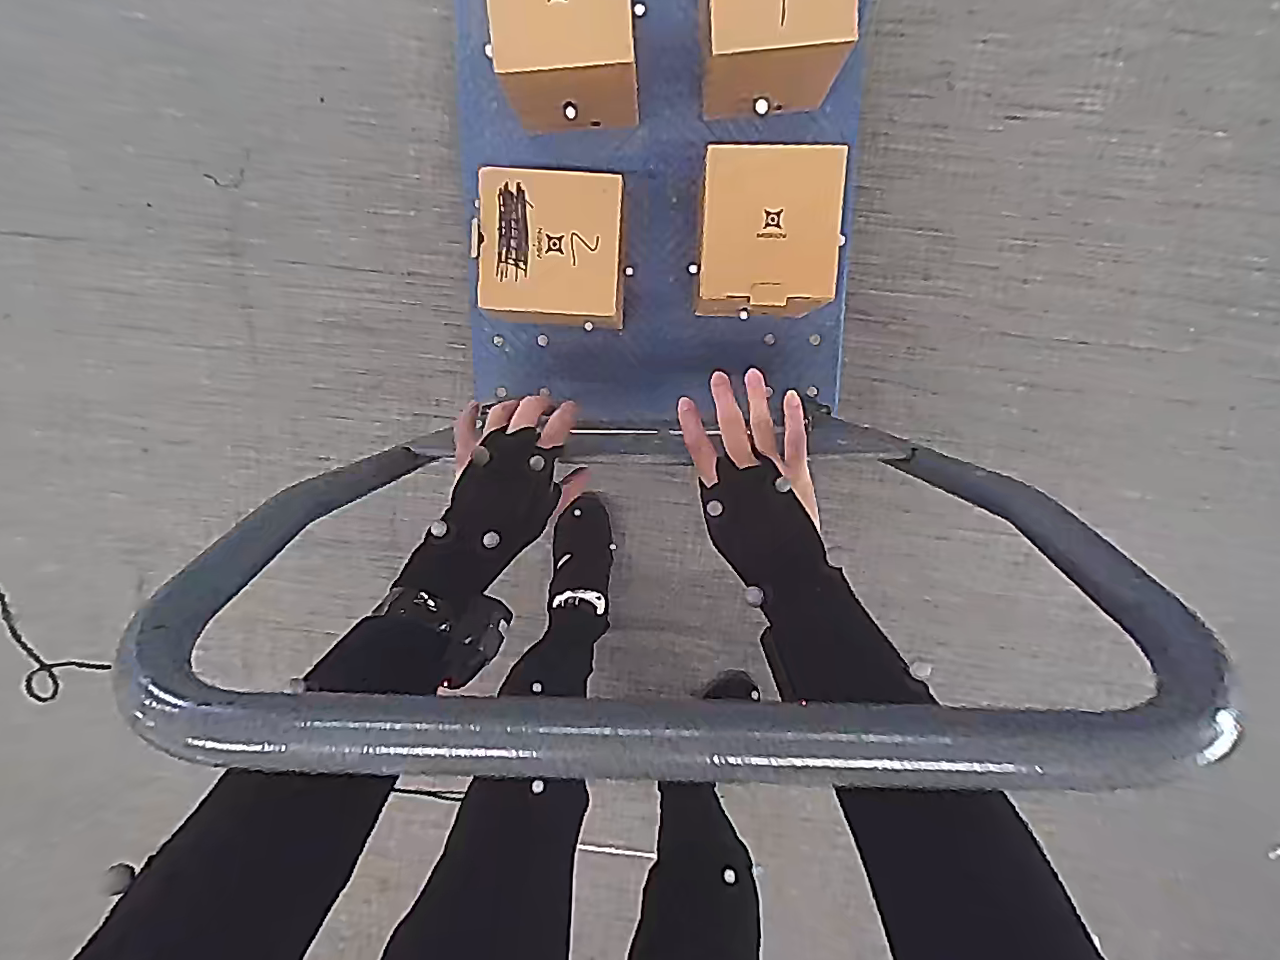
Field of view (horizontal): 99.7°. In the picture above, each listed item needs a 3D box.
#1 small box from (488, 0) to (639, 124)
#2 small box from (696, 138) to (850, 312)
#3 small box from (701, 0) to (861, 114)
[{"bbox_3d":[-0.089,-0.578,0.683,0.168,0.176,0.179,-3,101,2],"label":"small box"},{"bbox_3d":[0.164,-0.327,0.723,0.168,0.176,0.179,2,102,2],"label":"small box"},{"bbox_3d":[0.164,-0.592,0.669,0.168,0.176,0.179,-3,102,4],"label":"small box"}]
